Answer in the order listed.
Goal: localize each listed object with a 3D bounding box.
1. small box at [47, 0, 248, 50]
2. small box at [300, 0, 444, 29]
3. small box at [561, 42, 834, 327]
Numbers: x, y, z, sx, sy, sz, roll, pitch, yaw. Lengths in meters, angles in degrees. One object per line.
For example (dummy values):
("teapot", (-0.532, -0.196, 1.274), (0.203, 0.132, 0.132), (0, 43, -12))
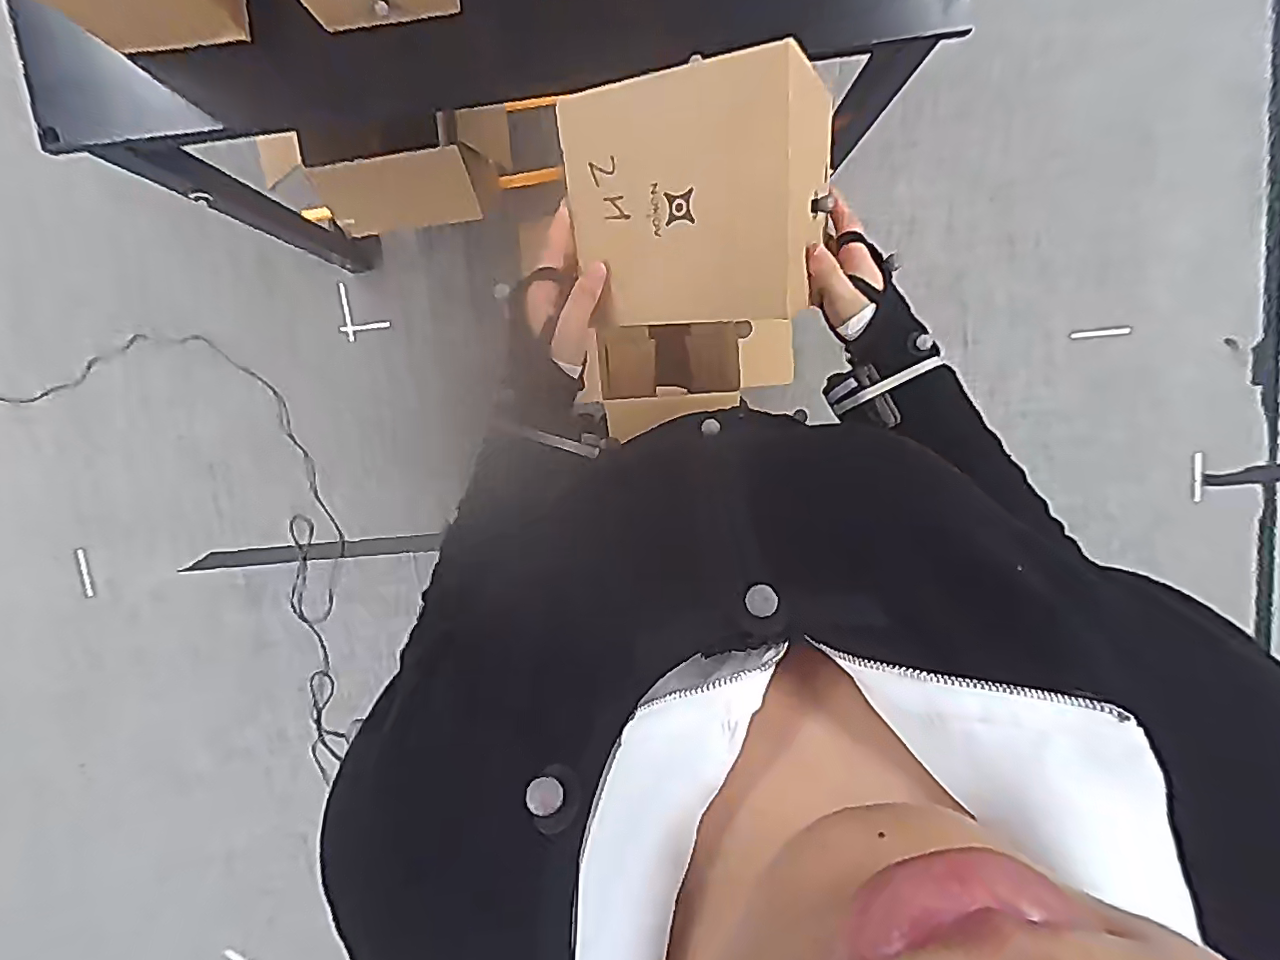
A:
("small box", (-0.583, -0.612, 0.591), (0.179, 0.176, 0.168), (-5, 98, 0))
("small box", (-0.321, -0.642, 0.587), (0.179, 0.176, 0.168), (-8, 97, 0))
("small box", (0.060, -0.225, 0.452), (0.179, 0.176, 0.168), (6, 113, 26))
